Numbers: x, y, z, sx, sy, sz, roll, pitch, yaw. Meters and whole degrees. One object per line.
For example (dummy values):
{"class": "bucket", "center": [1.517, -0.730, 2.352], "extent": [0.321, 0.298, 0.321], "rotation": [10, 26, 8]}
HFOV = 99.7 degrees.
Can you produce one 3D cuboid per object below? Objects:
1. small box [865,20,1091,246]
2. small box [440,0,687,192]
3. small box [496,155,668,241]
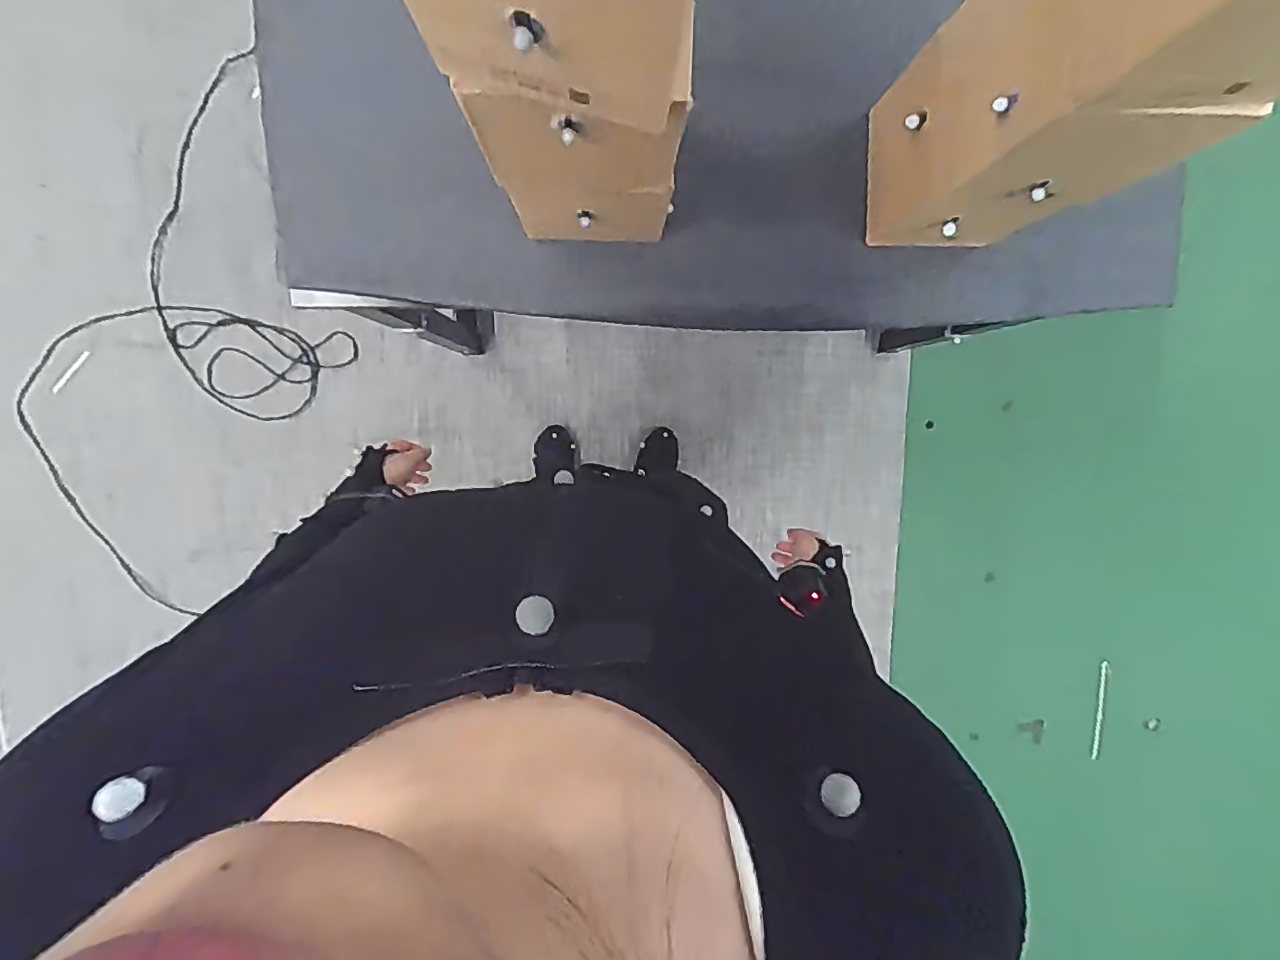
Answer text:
{"class": "small box", "center": [0.383, -0.390, 0.640], "extent": [0.168, 0.176, 0.179], "rotation": [-1, 96, -3]}
{"class": "small box", "center": [-0.057, -0.364, 0.457], "extent": [0.179, 0.176, 0.168], "rotation": [1, 97, -4]}
{"class": "small box", "center": [-0.062, -0.386, 0.618], "extent": [0.179, 0.176, 0.168], "rotation": [0, 96, -2]}
